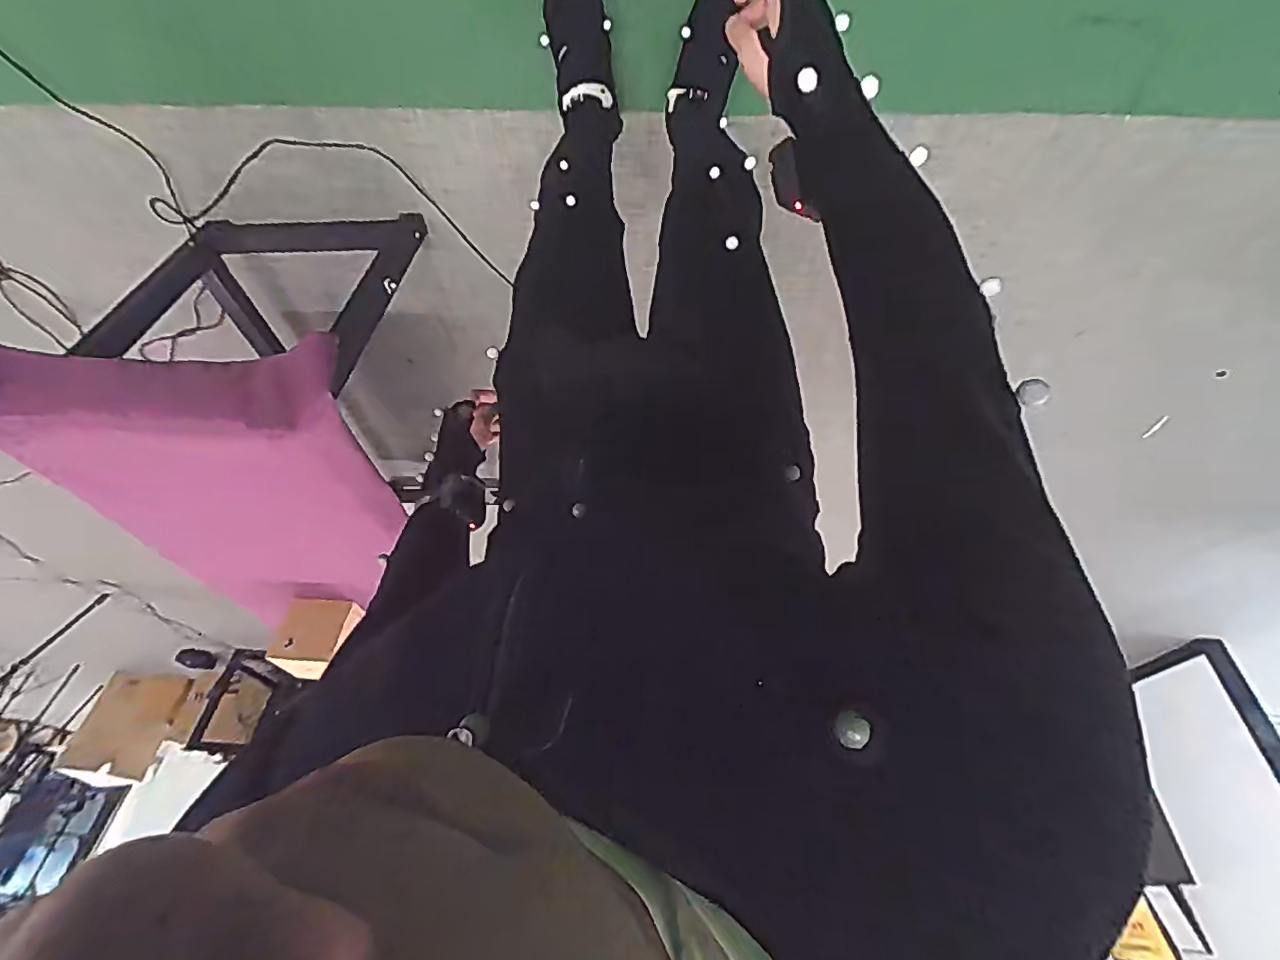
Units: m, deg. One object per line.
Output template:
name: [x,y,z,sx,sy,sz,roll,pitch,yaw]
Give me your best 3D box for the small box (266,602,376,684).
small box: [-0.862,0.444,1.479,0.179,0.176,0.168,2,144,2]
